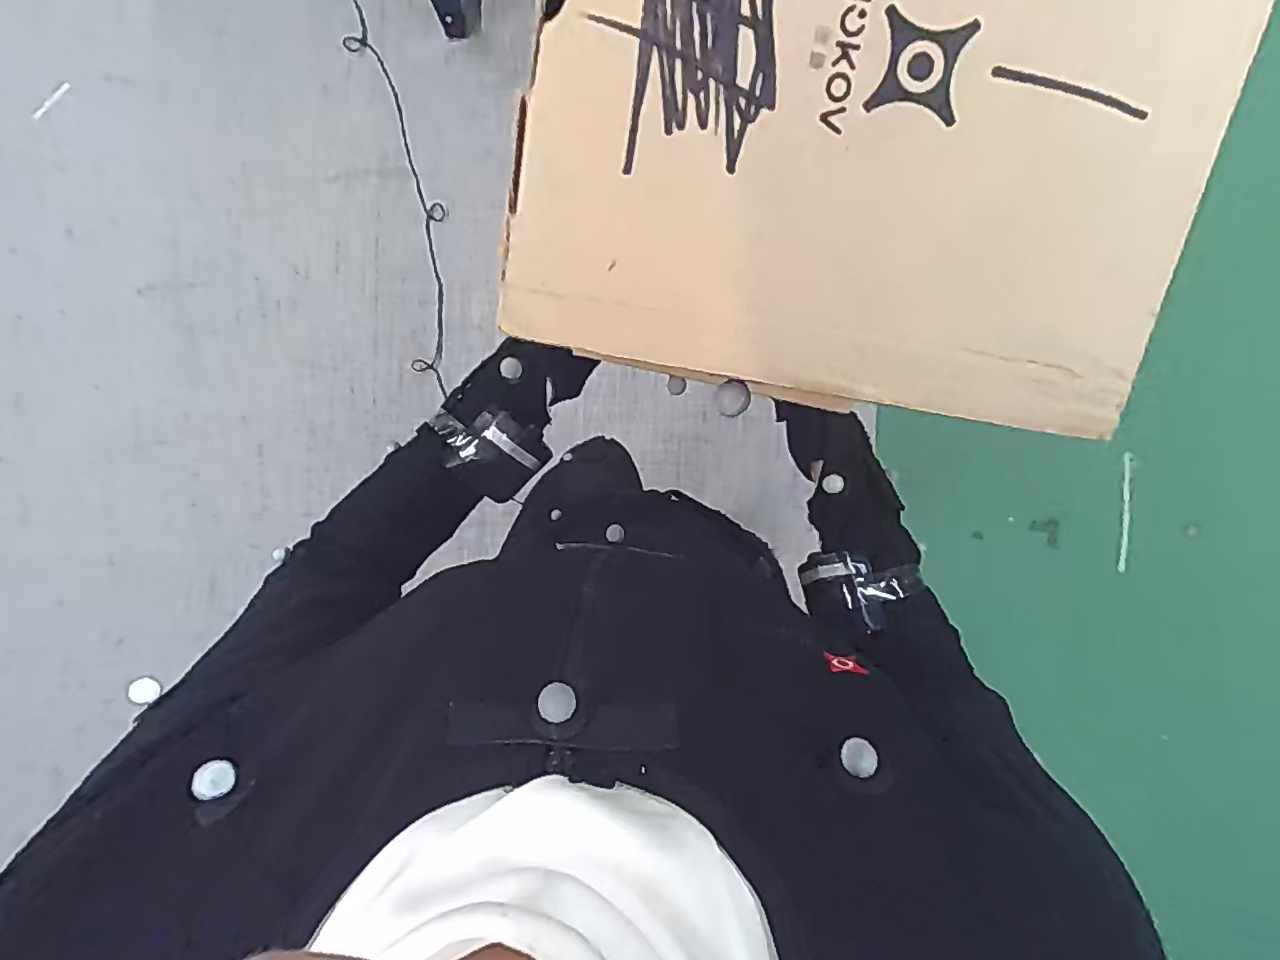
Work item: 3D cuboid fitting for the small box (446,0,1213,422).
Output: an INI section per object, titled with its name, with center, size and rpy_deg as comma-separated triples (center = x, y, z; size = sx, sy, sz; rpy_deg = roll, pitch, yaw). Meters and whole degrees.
[small box]
center = 0.049, -0.126, 0.209
size = 0.179, 0.176, 0.168
rpy_deg = 11, 104, -1
